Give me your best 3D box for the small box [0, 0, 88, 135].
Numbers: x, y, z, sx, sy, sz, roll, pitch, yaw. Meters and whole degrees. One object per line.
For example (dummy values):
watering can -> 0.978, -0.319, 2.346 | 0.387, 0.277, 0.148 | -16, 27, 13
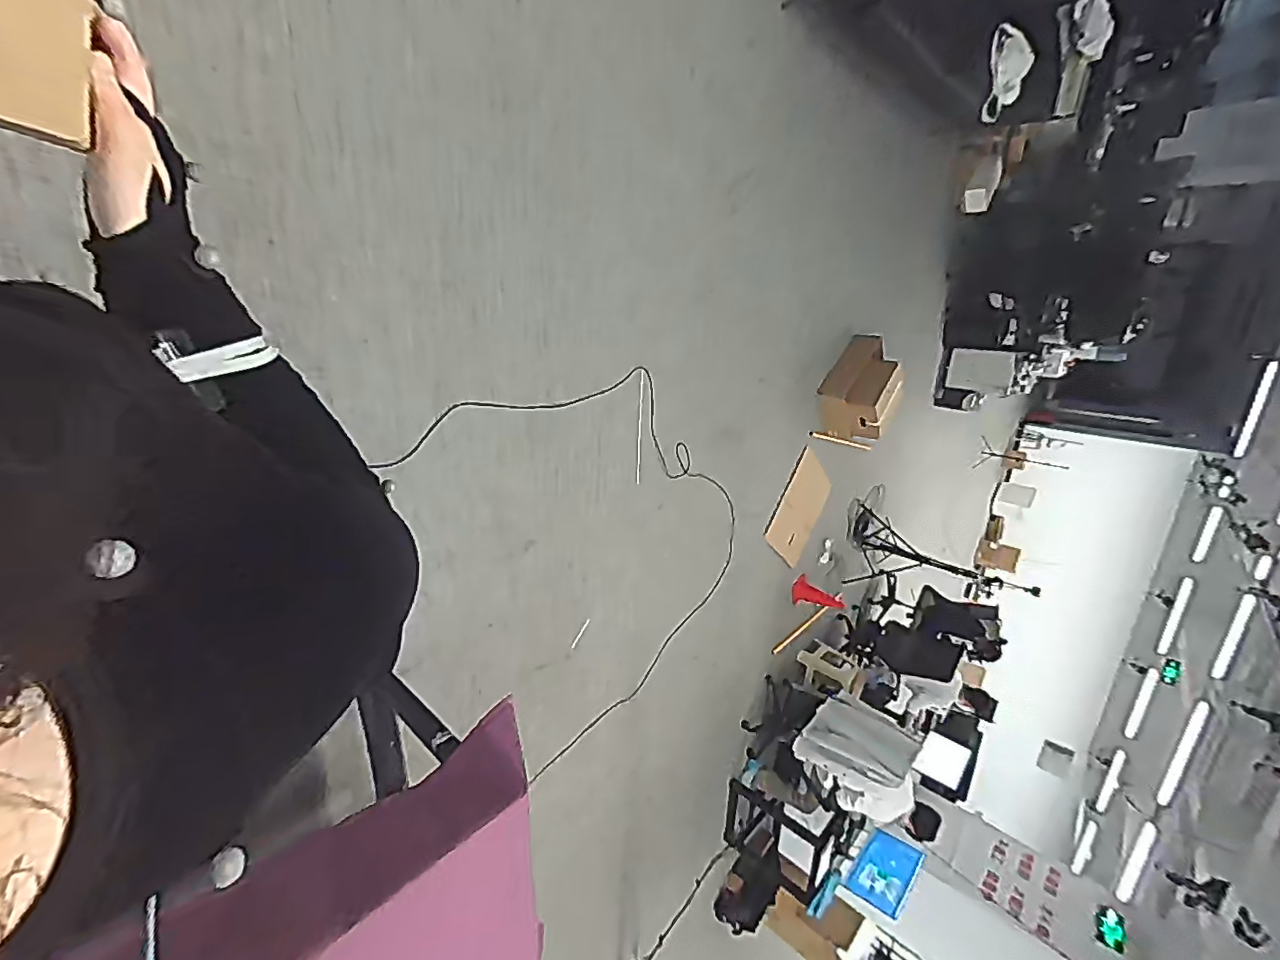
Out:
small box -> -0.364, -0.284, 0.239 | 0.168, 0.176, 0.179 | 1, 112, -45
